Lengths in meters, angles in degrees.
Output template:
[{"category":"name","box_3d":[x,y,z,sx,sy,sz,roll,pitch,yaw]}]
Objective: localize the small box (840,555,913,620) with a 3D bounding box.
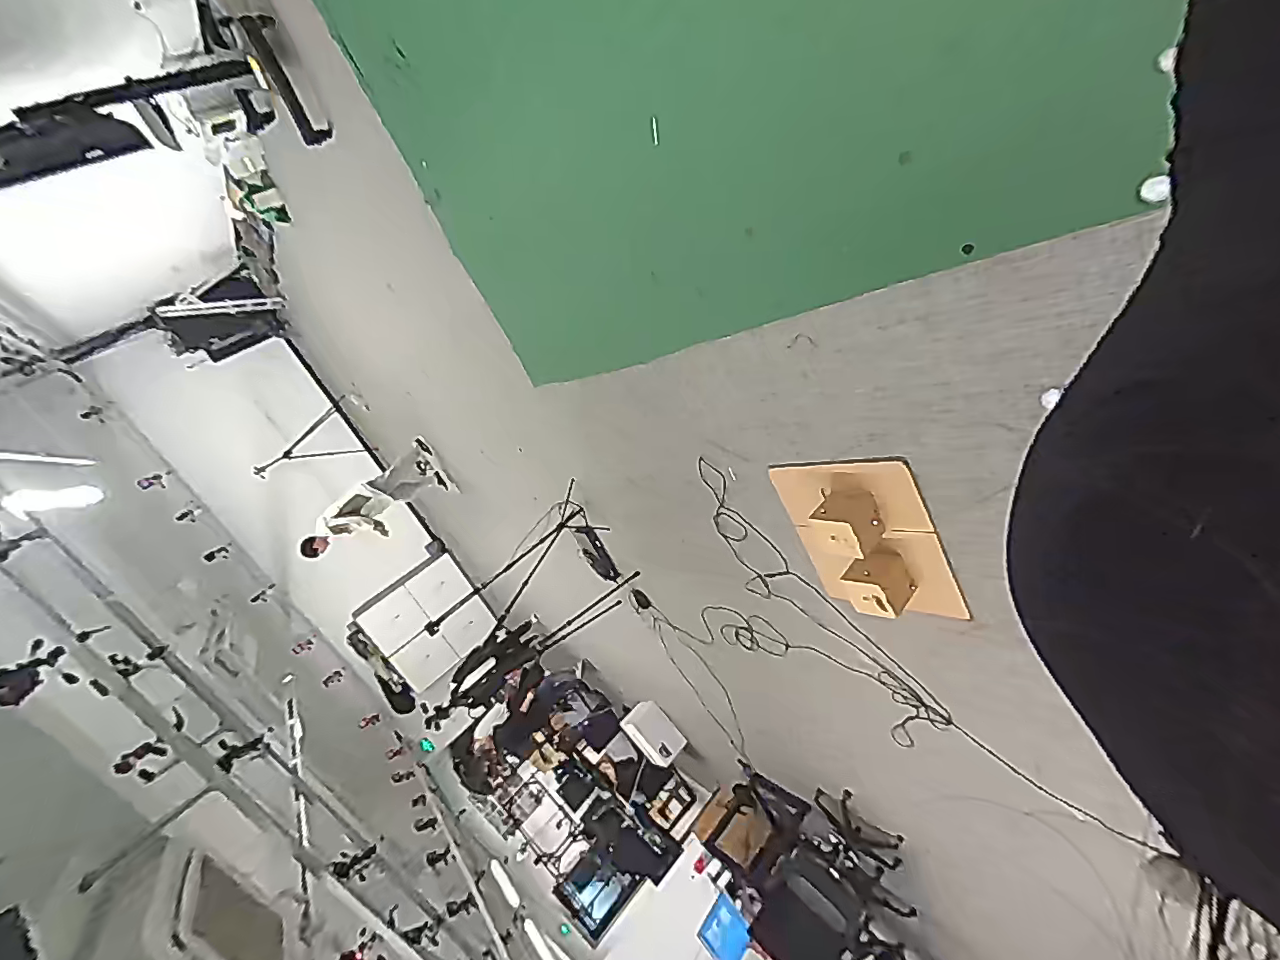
[{"category":"small box","box_3d":[0.898,0.400,2.038,0.179,0.176,0.168,-6,119,58]}]

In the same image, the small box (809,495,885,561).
[{"category":"small box","box_3d":[0.756,0.168,1.973,0.179,0.176,0.168,2,127,54]}]
